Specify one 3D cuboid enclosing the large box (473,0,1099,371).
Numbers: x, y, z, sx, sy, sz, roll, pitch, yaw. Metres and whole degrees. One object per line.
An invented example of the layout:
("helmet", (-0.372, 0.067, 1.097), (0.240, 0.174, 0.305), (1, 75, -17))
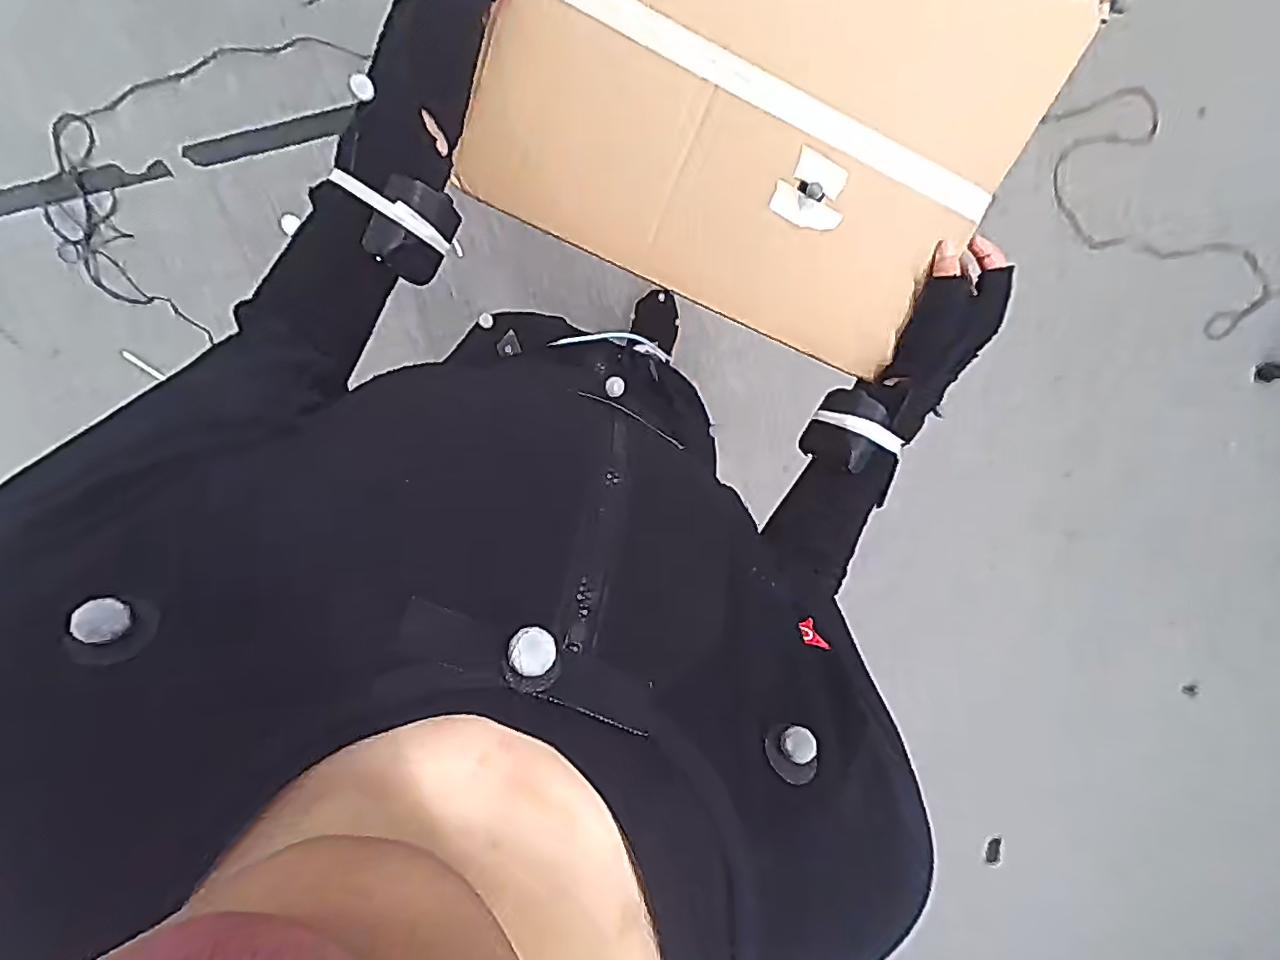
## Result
("large box", (0.097, -0.356, 0.556), (0.408, 0.320, 0.320), (22, 112, -10))
